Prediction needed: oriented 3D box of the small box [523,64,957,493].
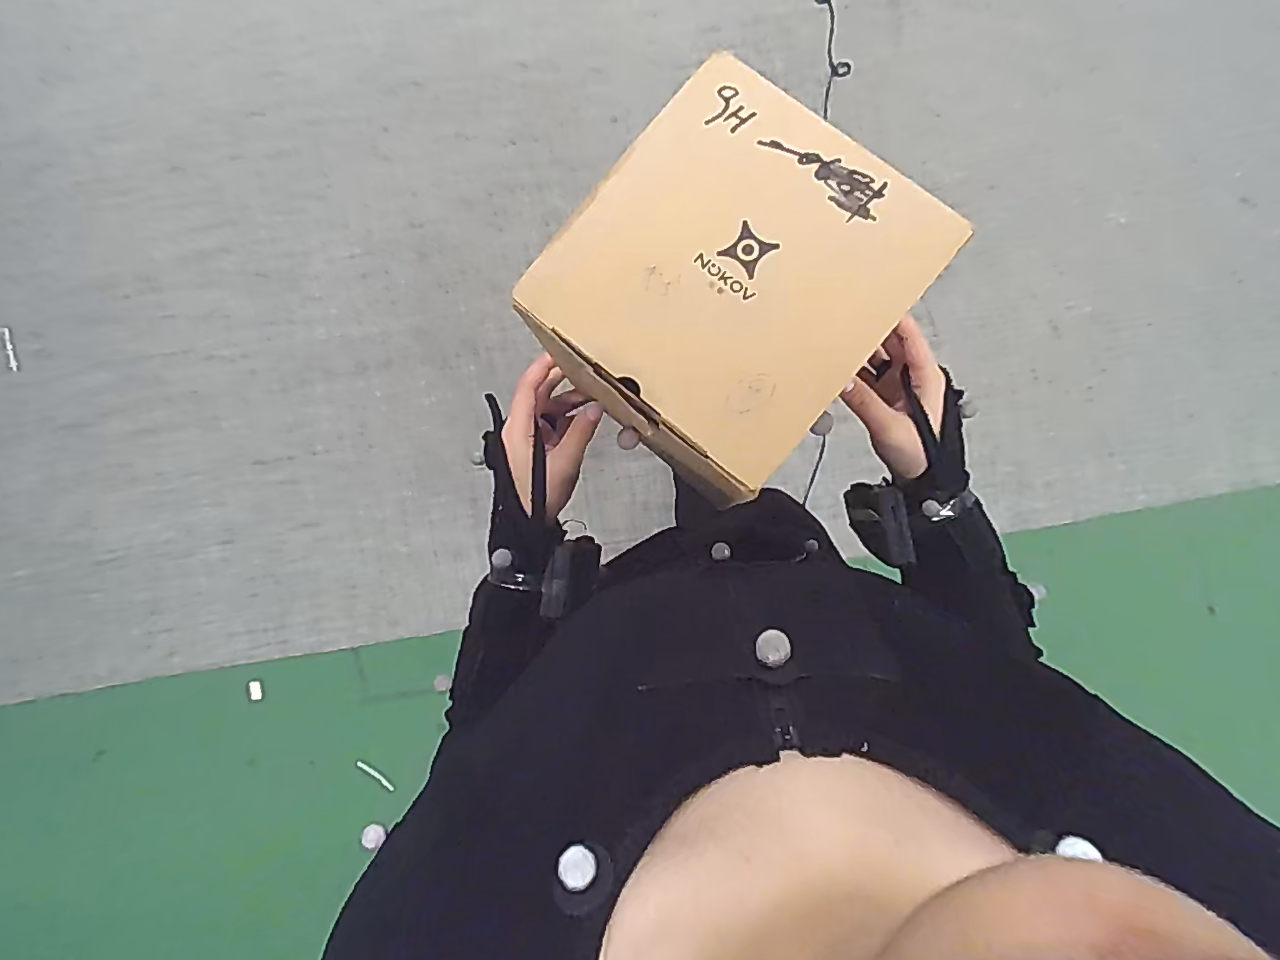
[{"bbox_3d":[0.057,-0.106,0.366,0.168,0.176,0.179,39,89,7],"label":"small box"}]
